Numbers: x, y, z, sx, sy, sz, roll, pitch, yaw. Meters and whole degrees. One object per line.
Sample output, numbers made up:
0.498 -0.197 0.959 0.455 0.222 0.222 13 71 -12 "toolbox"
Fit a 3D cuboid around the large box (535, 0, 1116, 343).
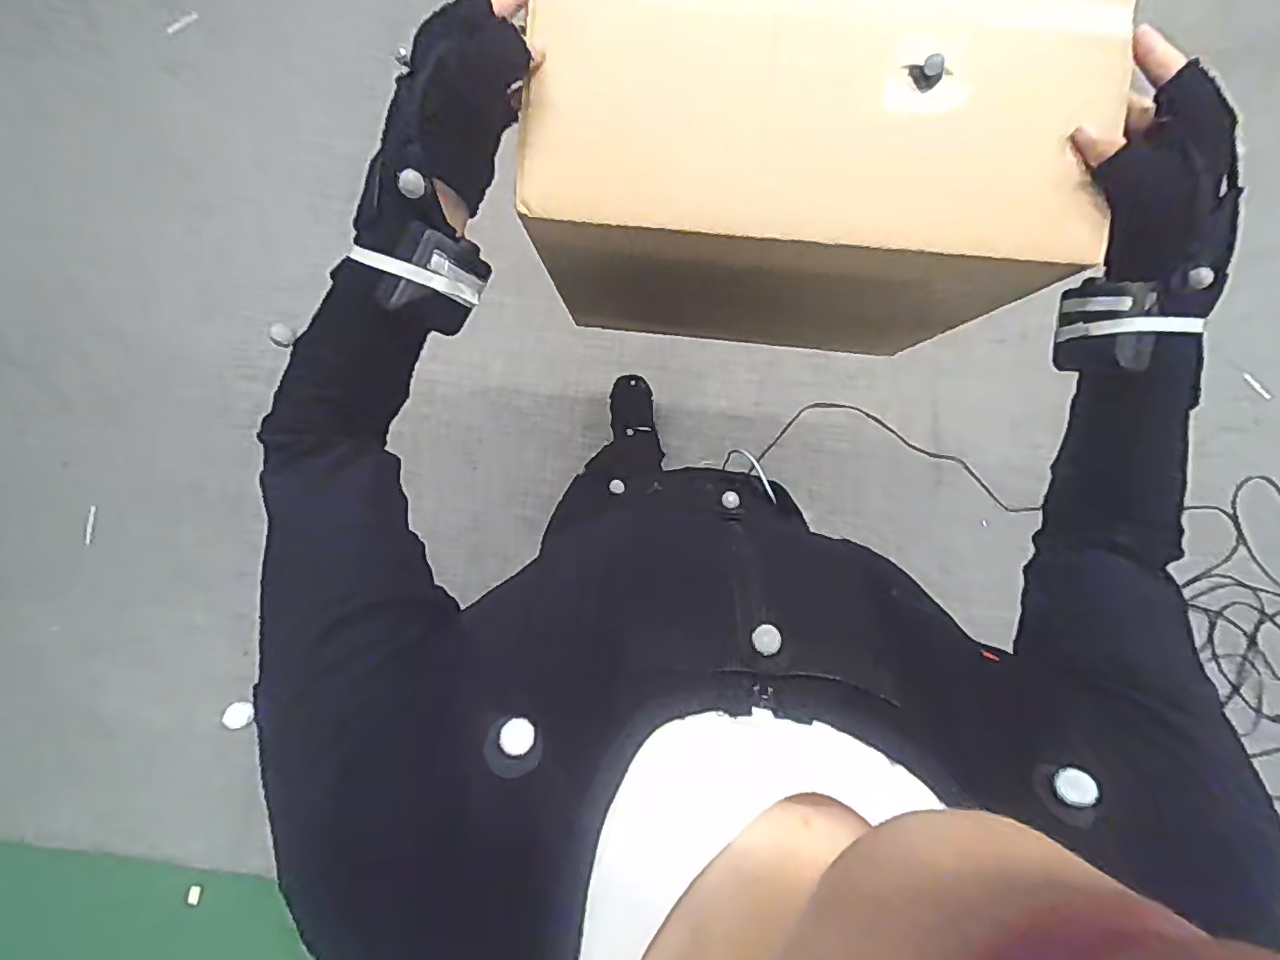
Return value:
0.130 -0.332 0.527 0.408 0.320 0.320 5 92 -1 "large box"
